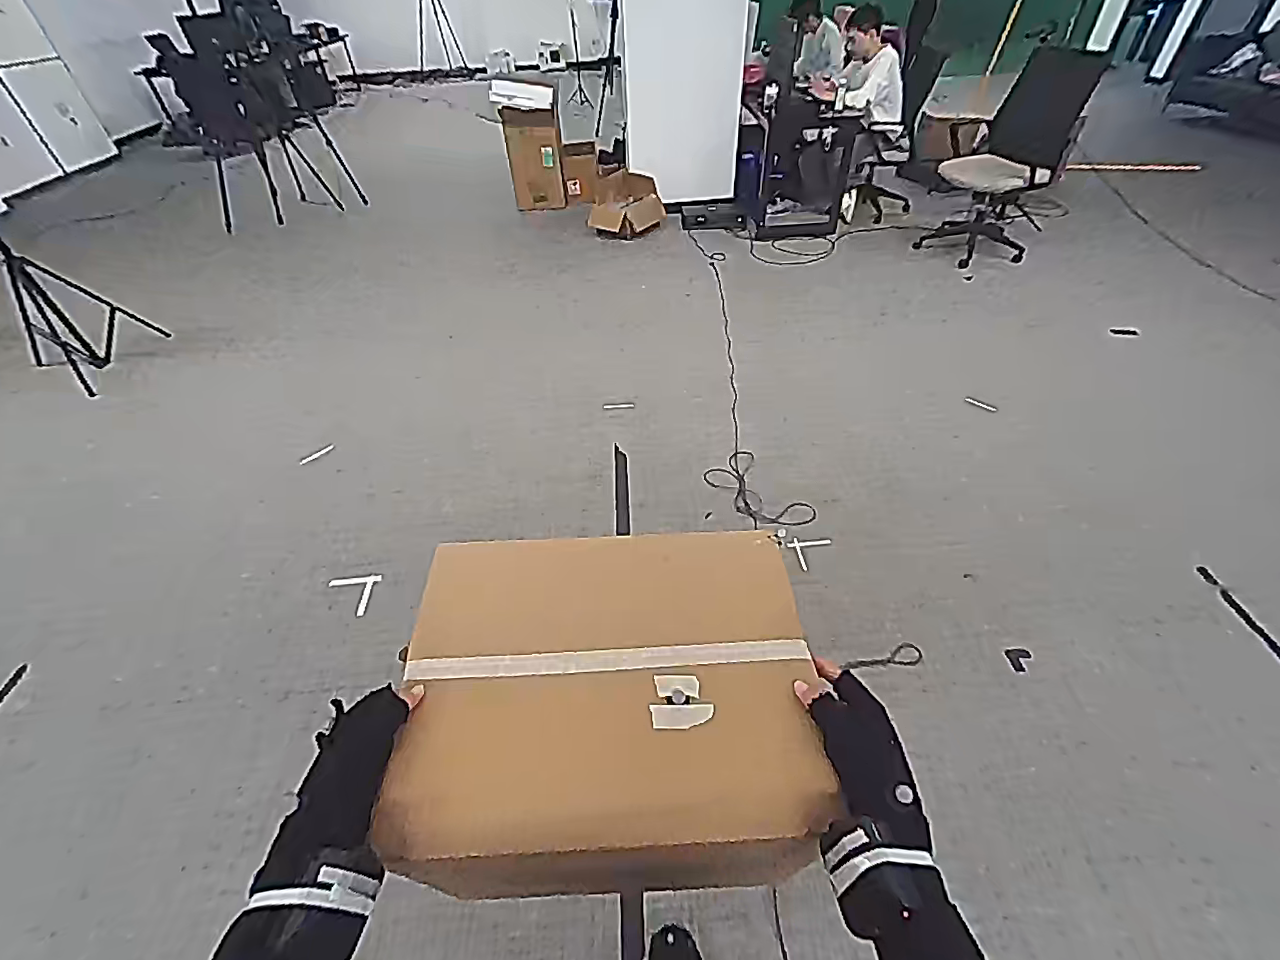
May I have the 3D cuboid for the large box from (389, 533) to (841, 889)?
[{"bbox_3d":[-0.029,0.288,0.675,0.408,0.320,0.320,-2,48,-2],"label":"large box"}]
